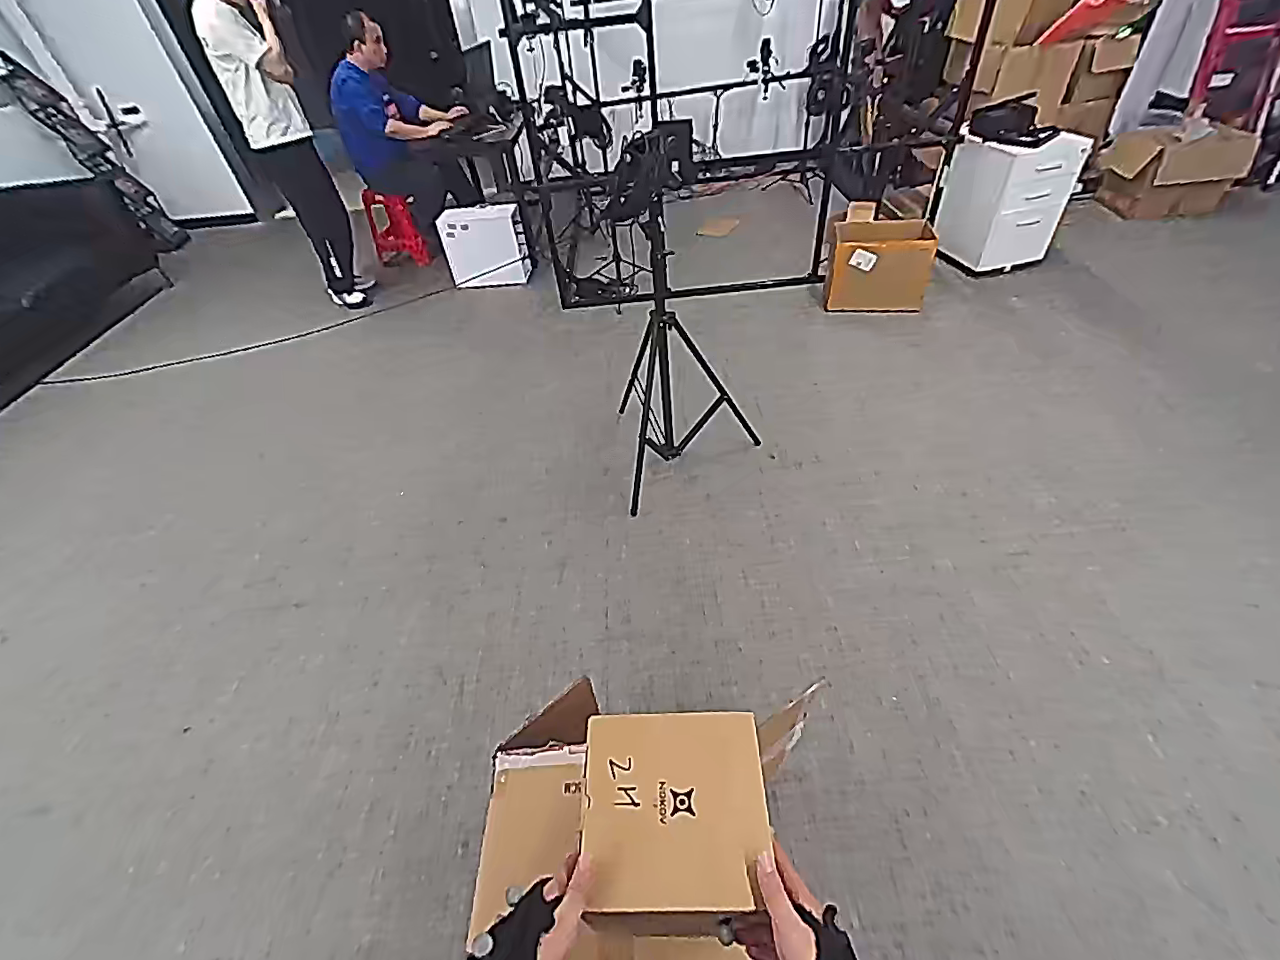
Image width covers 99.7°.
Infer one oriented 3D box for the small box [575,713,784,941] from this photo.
[{"bbox_3d":[0.038,0.358,0.559,0.179,0.176,0.168,-3,43,3],"label":"small box"}]
